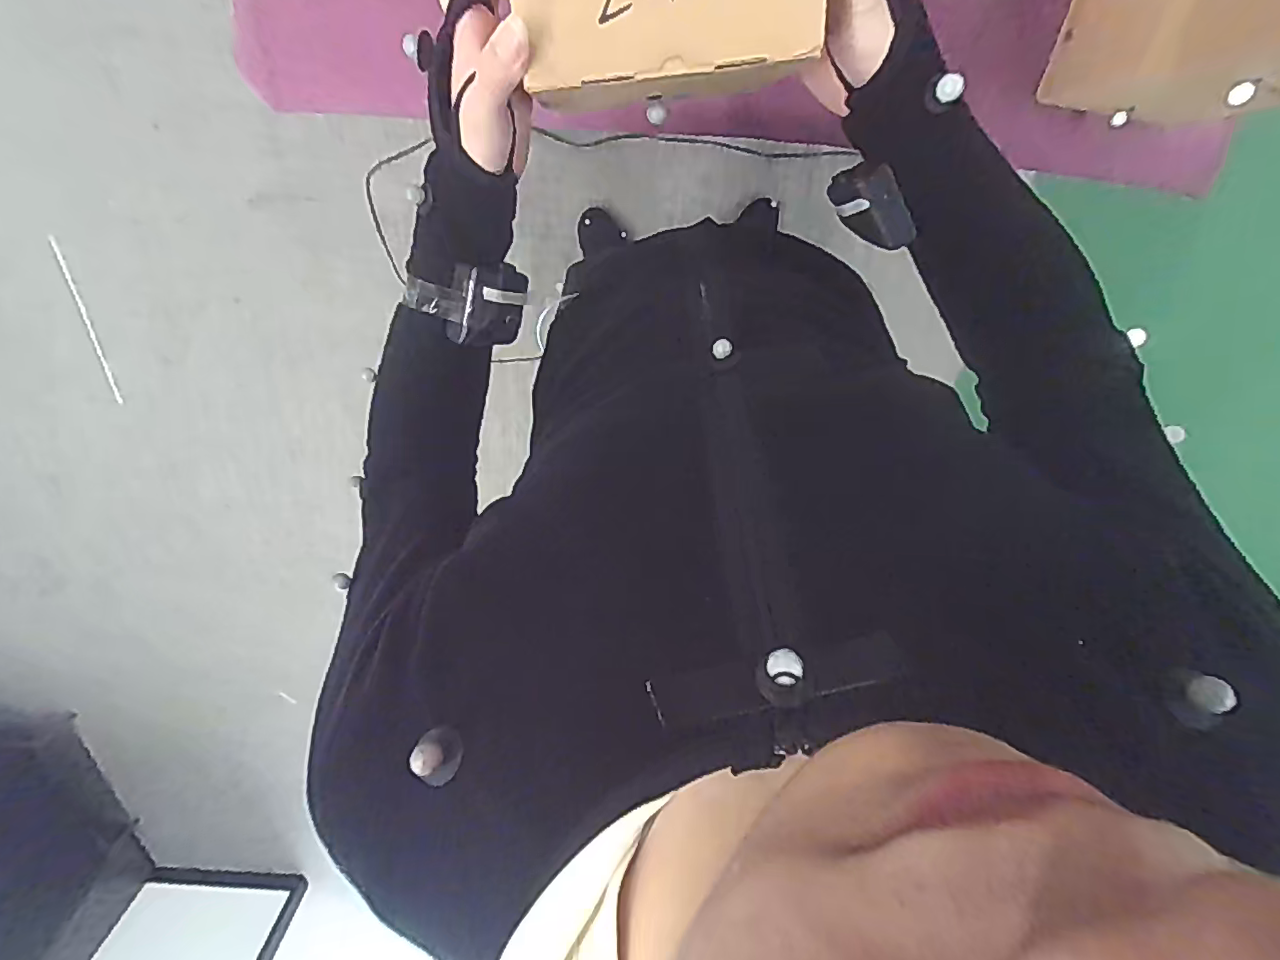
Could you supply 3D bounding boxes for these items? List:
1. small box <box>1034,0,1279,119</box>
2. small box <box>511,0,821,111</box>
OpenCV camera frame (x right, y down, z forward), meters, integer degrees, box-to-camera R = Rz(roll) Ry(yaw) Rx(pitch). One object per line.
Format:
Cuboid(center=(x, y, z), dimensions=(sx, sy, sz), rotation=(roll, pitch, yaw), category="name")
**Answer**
Cuboid(center=(0.572, -0.490, 0.559), dimensions=(0.179, 0.176, 0.168), rotation=(8, 117, -3), category="small box")
Cuboid(center=(0.004, -0.340, 0.323), dimensions=(0.168, 0.176, 0.179), rotation=(-6, 121, 0), category="small box")
